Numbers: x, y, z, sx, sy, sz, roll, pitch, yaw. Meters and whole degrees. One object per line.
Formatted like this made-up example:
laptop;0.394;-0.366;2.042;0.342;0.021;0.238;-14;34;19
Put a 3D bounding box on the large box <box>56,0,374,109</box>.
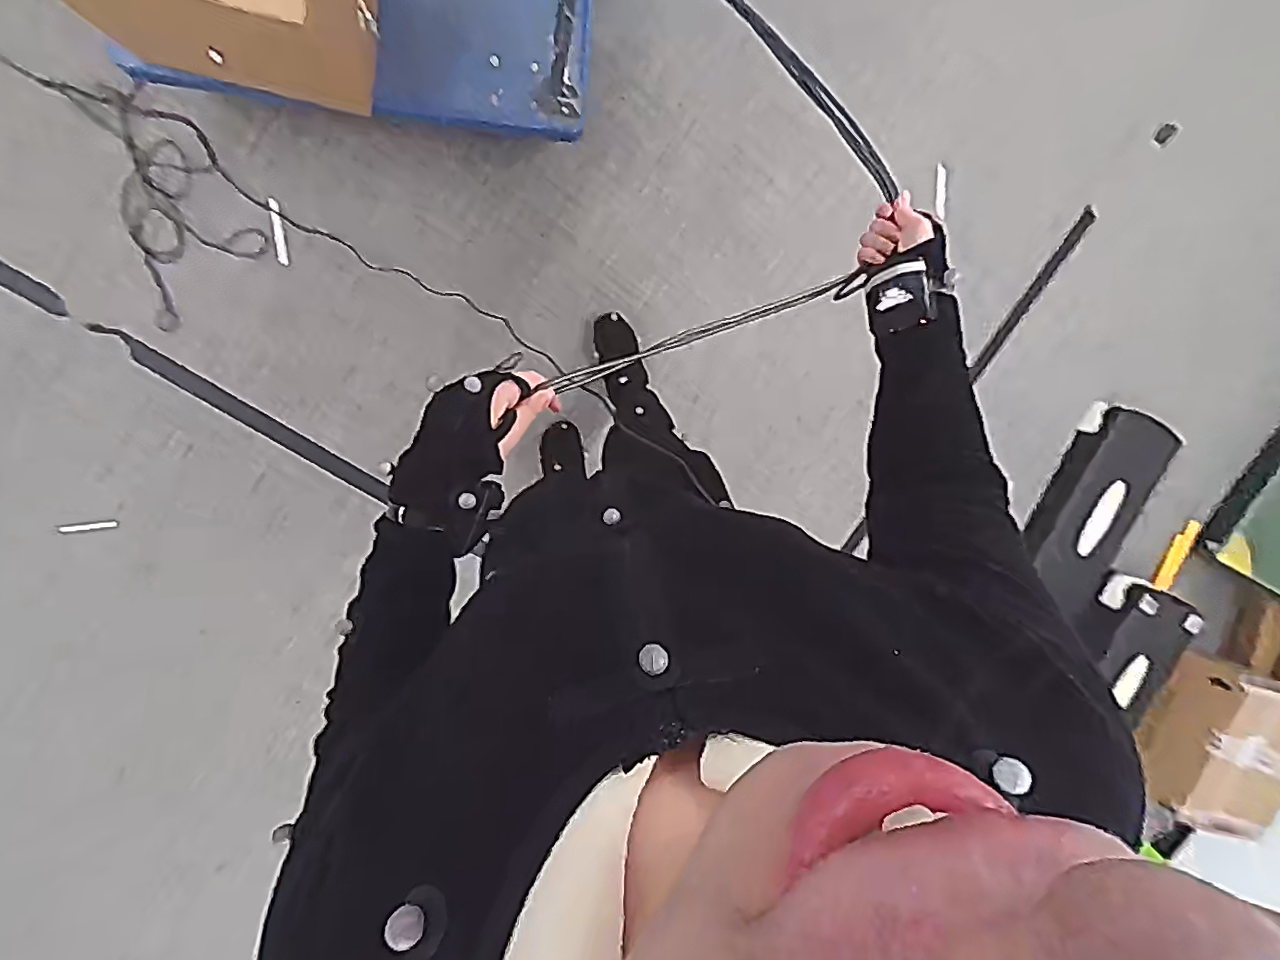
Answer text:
large box;-0.672;-0.853;0.847;0.408;0.320;0.320;7;100;-11
